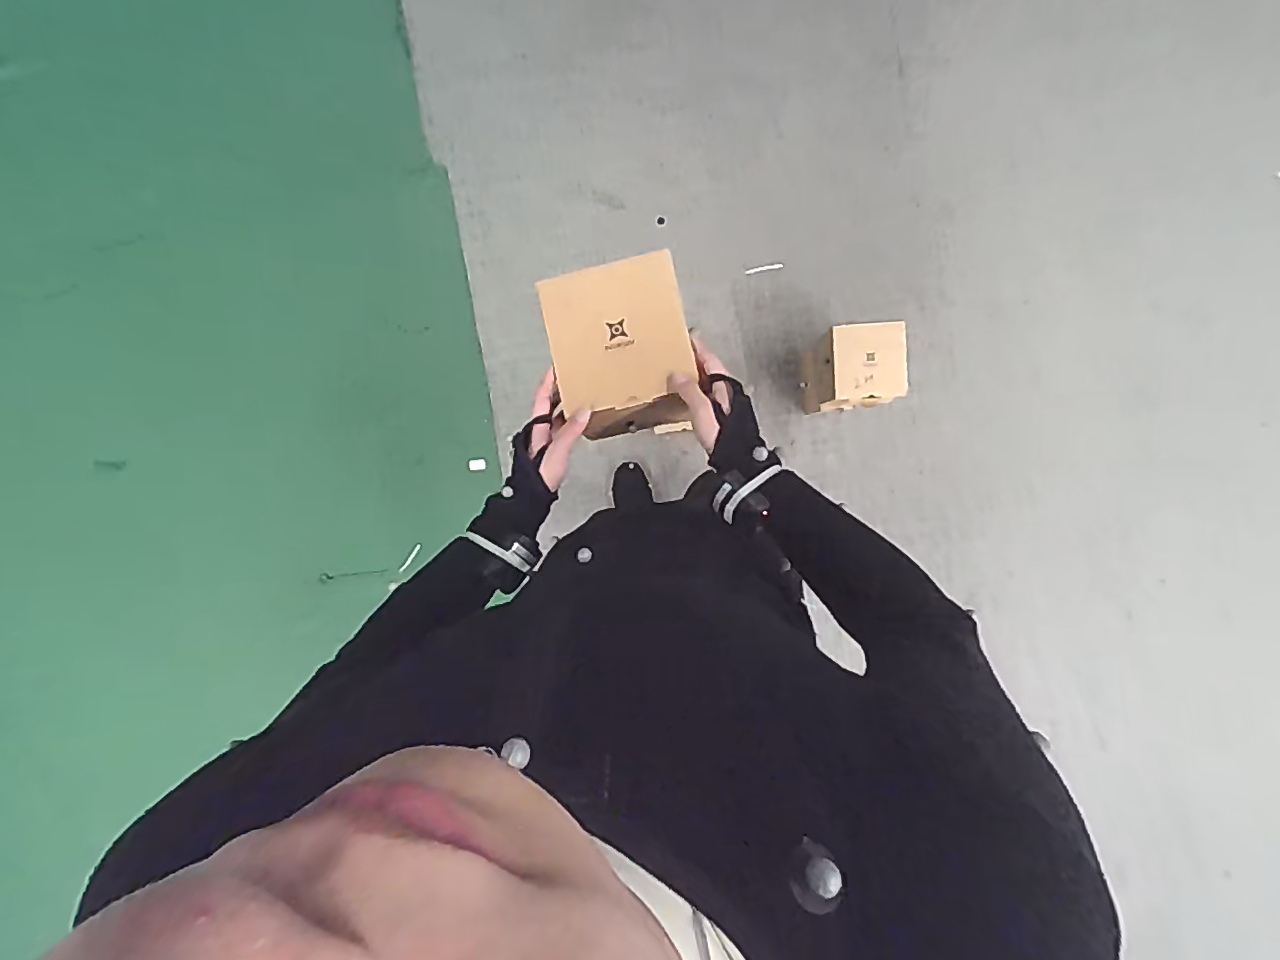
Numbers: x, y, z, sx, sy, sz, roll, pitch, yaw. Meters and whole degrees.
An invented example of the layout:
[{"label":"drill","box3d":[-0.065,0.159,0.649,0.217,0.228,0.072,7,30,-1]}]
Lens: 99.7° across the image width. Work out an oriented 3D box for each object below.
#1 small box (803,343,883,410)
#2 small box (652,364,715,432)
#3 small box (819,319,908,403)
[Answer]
[{"label":"small box","box3d":[0.556,-0.288,1.496,0.168,0.176,0.179,-7,94,5]},{"label":"small box","box3d":[0.126,-0.230,1.549,0.168,0.176,0.179,-4,93,4]},{"label":"small box","box3d":[0.542,-0.287,1.331,0.168,0.176,0.179,-2,94,5]}]
